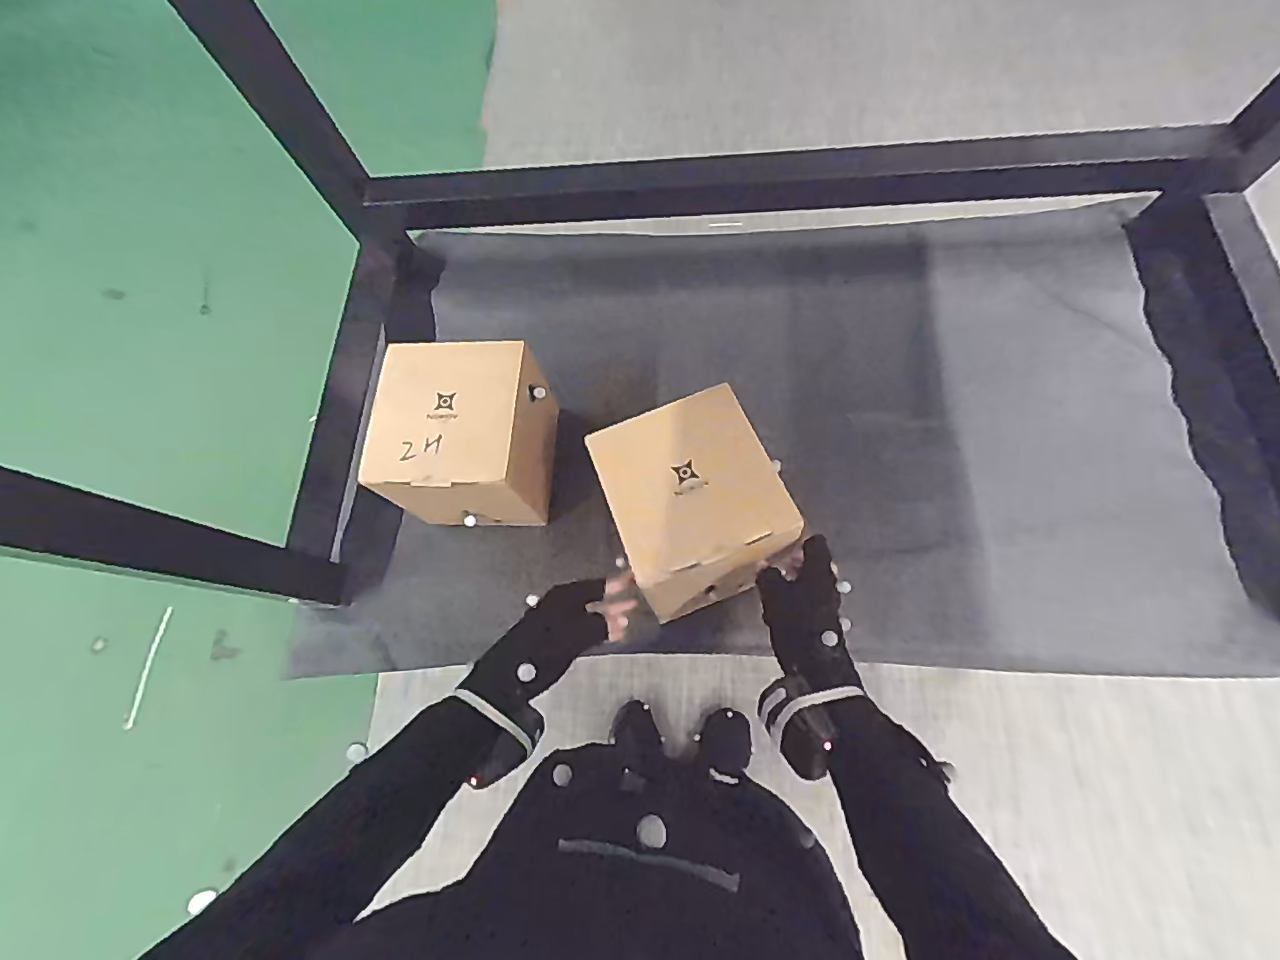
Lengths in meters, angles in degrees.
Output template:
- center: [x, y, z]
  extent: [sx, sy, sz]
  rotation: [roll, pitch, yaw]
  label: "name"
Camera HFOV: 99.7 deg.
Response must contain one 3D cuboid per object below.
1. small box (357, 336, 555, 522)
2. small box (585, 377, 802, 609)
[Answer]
- center: [-0.209, -0.056, 0.669]
  extent: [0.168, 0.176, 0.179]
  rotation: [0, 70, 7]
  label: "small box"
- center: [0.056, 0.023, 0.607]
  extent: [0.168, 0.176, 0.179]
  rotation: [-24, 65, -2]
  label: "small box"
